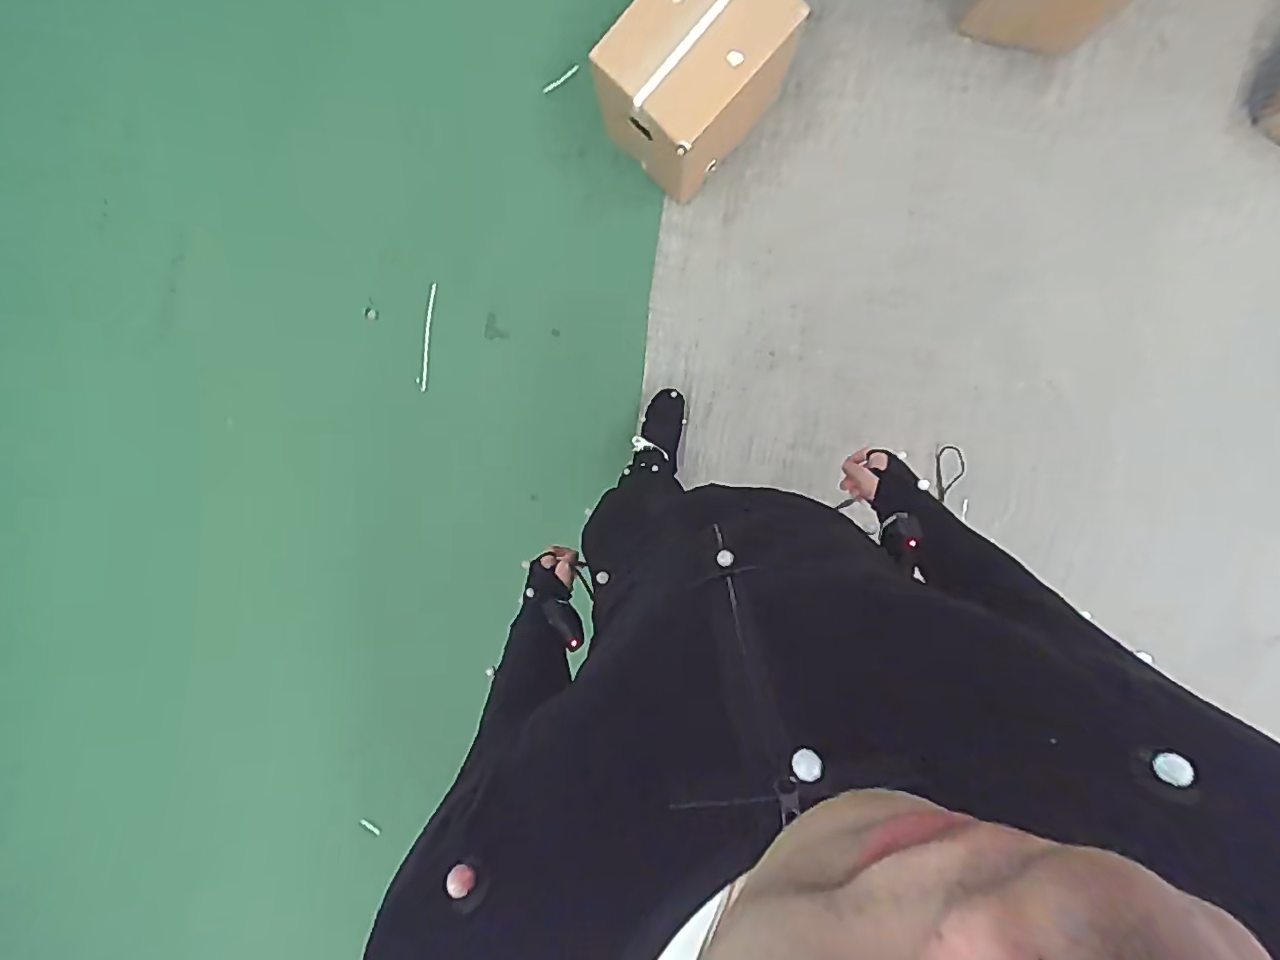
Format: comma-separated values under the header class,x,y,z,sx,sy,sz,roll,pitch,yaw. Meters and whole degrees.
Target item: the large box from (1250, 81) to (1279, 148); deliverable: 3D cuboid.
class,x,y,z,sx,sy,sz,roll,pitch,yaw
large box,1.871,-0.958,1.289,0.408,0.320,0.320,32,96,0
